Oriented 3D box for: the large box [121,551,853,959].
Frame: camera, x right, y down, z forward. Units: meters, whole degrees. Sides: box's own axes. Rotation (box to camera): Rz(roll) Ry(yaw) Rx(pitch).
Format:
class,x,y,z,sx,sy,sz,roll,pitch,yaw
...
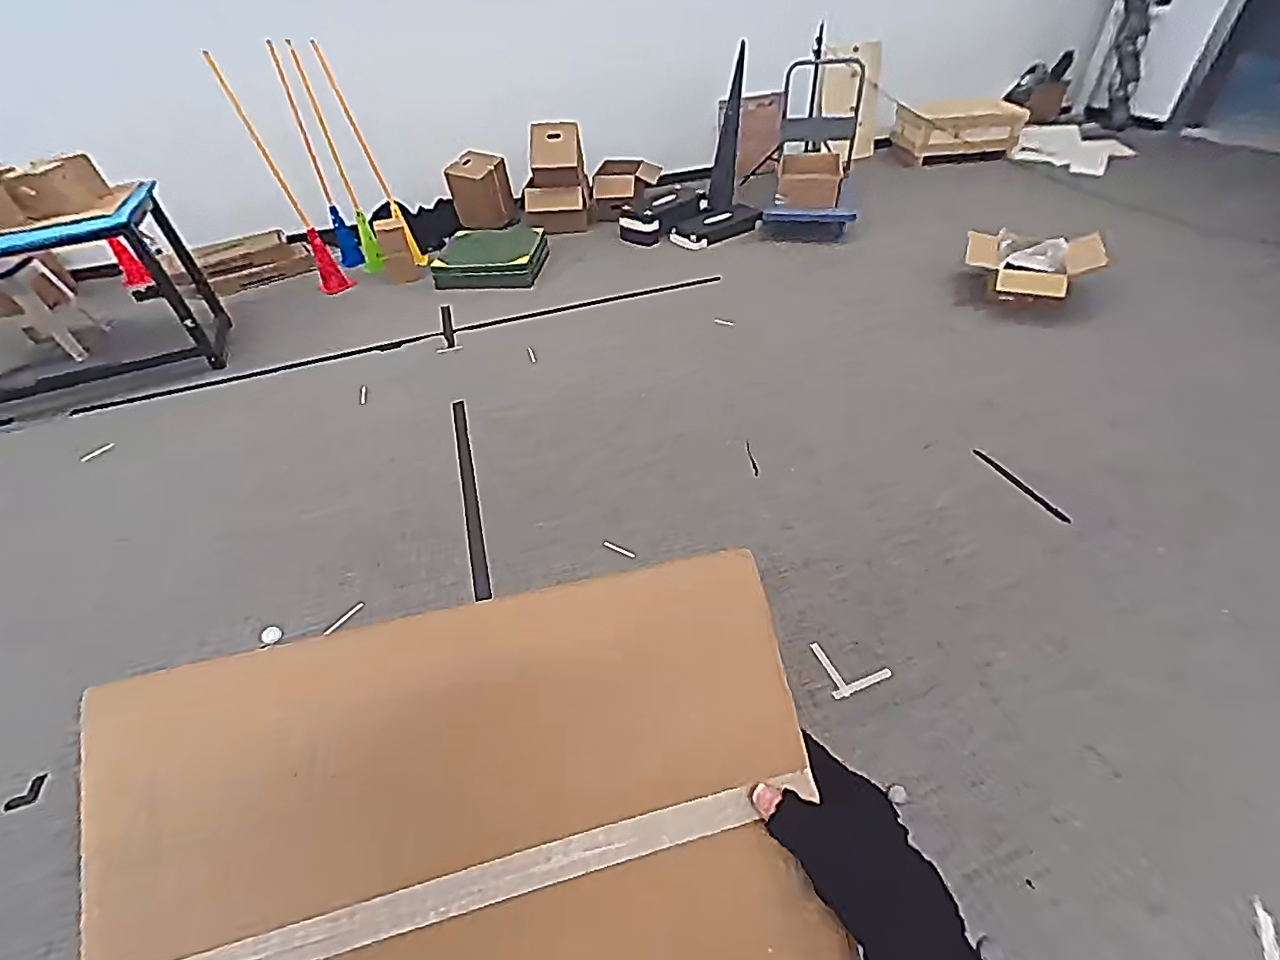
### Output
class,x,y,z,sx,sy,sz,roll,pitch,yaw
large box,-0.104,0.271,0.466,0.408,0.320,0.320,-11,78,-10
